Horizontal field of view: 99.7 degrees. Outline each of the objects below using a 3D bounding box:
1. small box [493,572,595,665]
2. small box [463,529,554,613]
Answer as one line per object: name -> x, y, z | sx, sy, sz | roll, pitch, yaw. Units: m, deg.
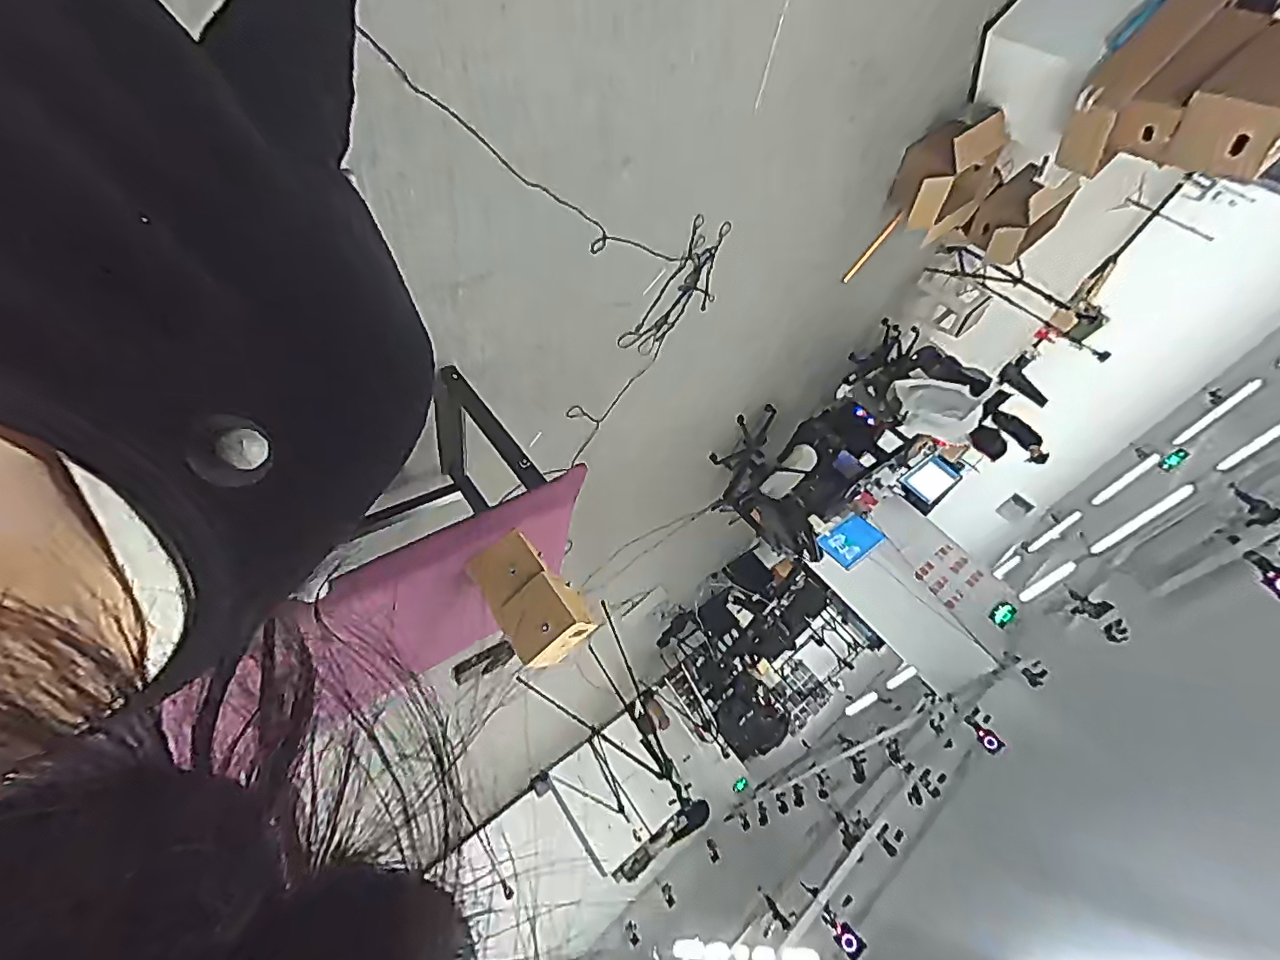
small box -> -0.255, 0.367, 1.438 | 0.179, 0.176, 0.168 | -41, 156, 1
small box -> -0.361, 0.266, 1.515 | 0.179, 0.176, 0.168 | -38, 156, -11
